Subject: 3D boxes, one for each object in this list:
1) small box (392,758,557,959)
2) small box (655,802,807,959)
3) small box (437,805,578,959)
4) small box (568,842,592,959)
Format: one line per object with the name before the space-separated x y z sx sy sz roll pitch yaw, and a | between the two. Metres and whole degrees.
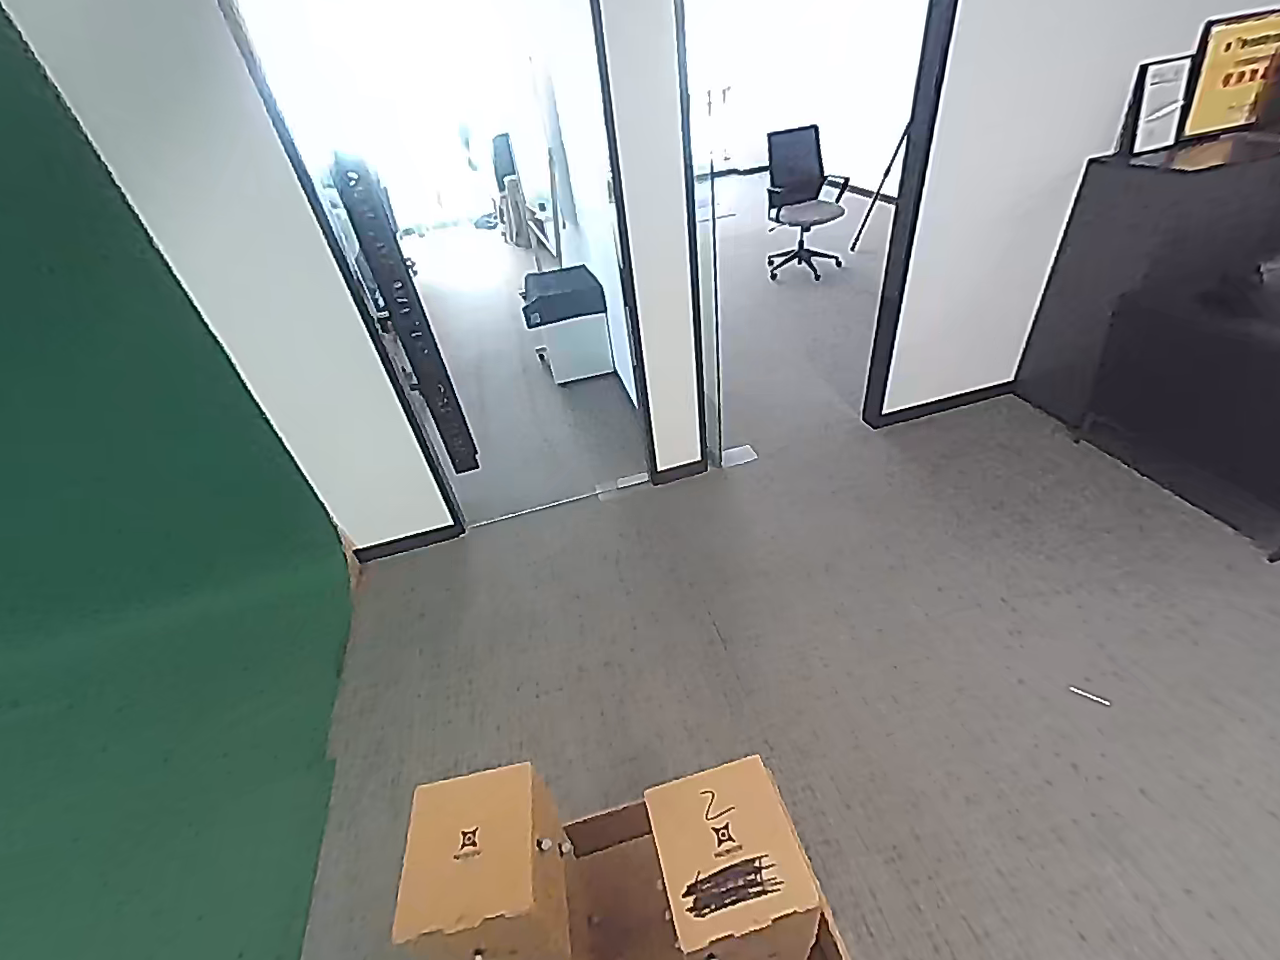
small box | -0.211 0.519 0.741 0.168 0.176 0.179 -10 39 -3
small box | 0.128 0.628 0.806 0.168 0.176 0.179 -14 39 -8
small box | -0.196 0.647 0.840 0.168 0.176 0.179 -12 38 -3
small box | -0.181 0.776 0.940 0.168 0.176 0.179 -12 38 -5
